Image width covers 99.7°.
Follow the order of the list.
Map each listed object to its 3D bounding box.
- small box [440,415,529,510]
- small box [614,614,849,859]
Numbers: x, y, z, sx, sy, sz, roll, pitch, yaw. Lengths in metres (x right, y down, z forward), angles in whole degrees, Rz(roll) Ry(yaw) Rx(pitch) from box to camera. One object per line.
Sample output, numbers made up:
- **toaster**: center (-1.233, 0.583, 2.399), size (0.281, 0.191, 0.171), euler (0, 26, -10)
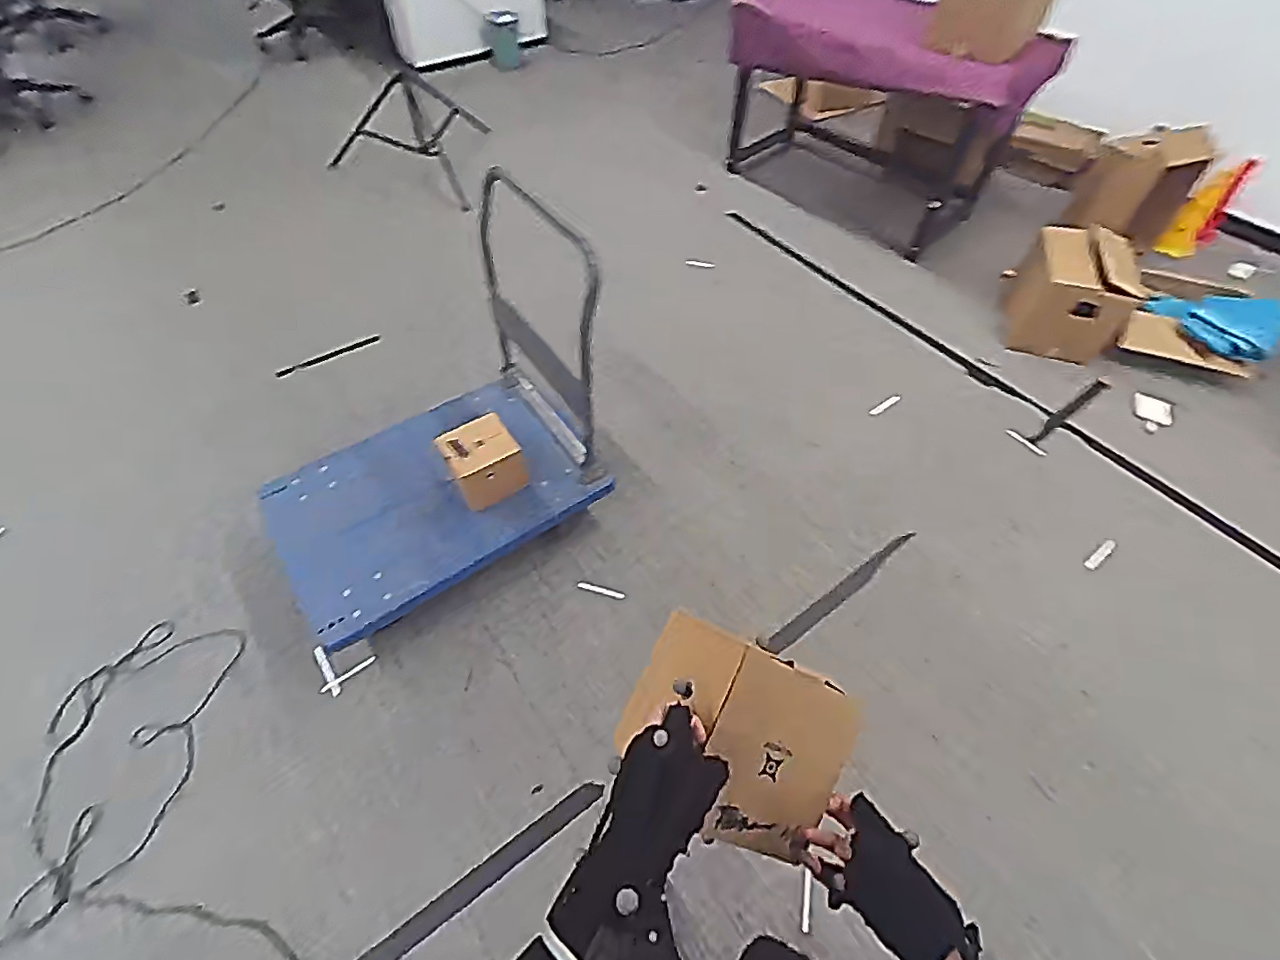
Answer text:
- **small box**: center (-0.429, -0.044, 1.516), size (0.179, 0.176, 0.168), euler (-28, 60, -20)
- **small box**: center (0.091, 0.269, 0.605), size (0.168, 0.176, 0.179), euler (29, 79, -19)
